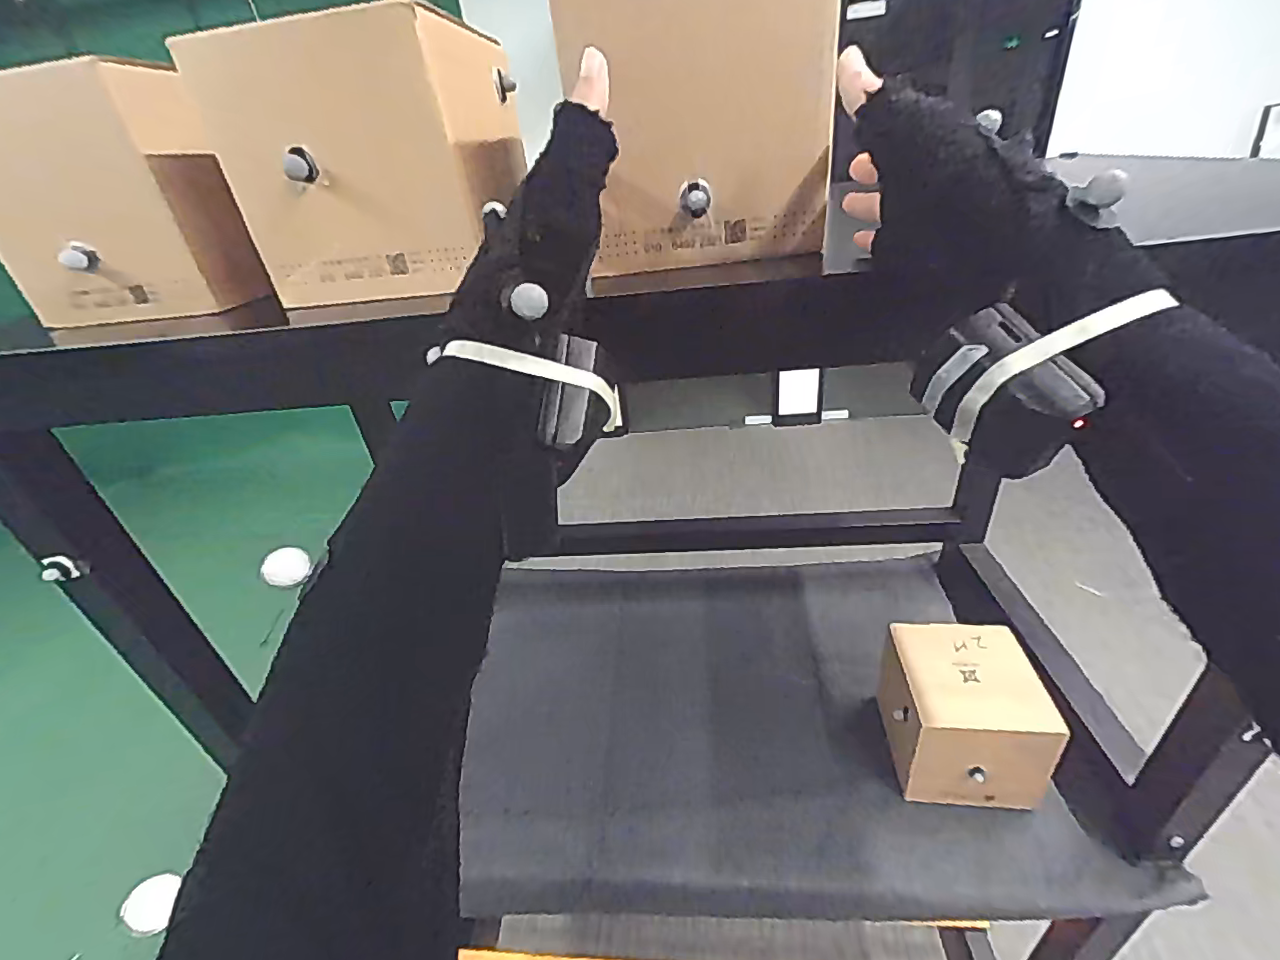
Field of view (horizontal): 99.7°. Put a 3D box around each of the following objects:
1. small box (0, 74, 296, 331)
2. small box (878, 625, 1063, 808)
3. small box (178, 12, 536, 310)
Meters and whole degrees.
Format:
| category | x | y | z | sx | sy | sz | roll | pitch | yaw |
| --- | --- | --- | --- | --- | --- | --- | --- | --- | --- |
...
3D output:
| category | x | y | z | sx | sy | sz | roll | pitch | yaw |
| --- | --- | --- | --- | --- | --- | --- | --- | --- | --- |
| small box | -0.418 | -0.240 | 0.483 | 0.168 | 0.176 | 0.179 | -3 | 32 | 8 |
| small box | 0.446 | 0.330 | 0.765 | 0.168 | 0.176 | 0.179 | -1 | 30 | 10 |
| small box | -0.196 | -0.242 | 0.442 | 0.168 | 0.176 | 0.179 | -3 | 30 | 9 |
